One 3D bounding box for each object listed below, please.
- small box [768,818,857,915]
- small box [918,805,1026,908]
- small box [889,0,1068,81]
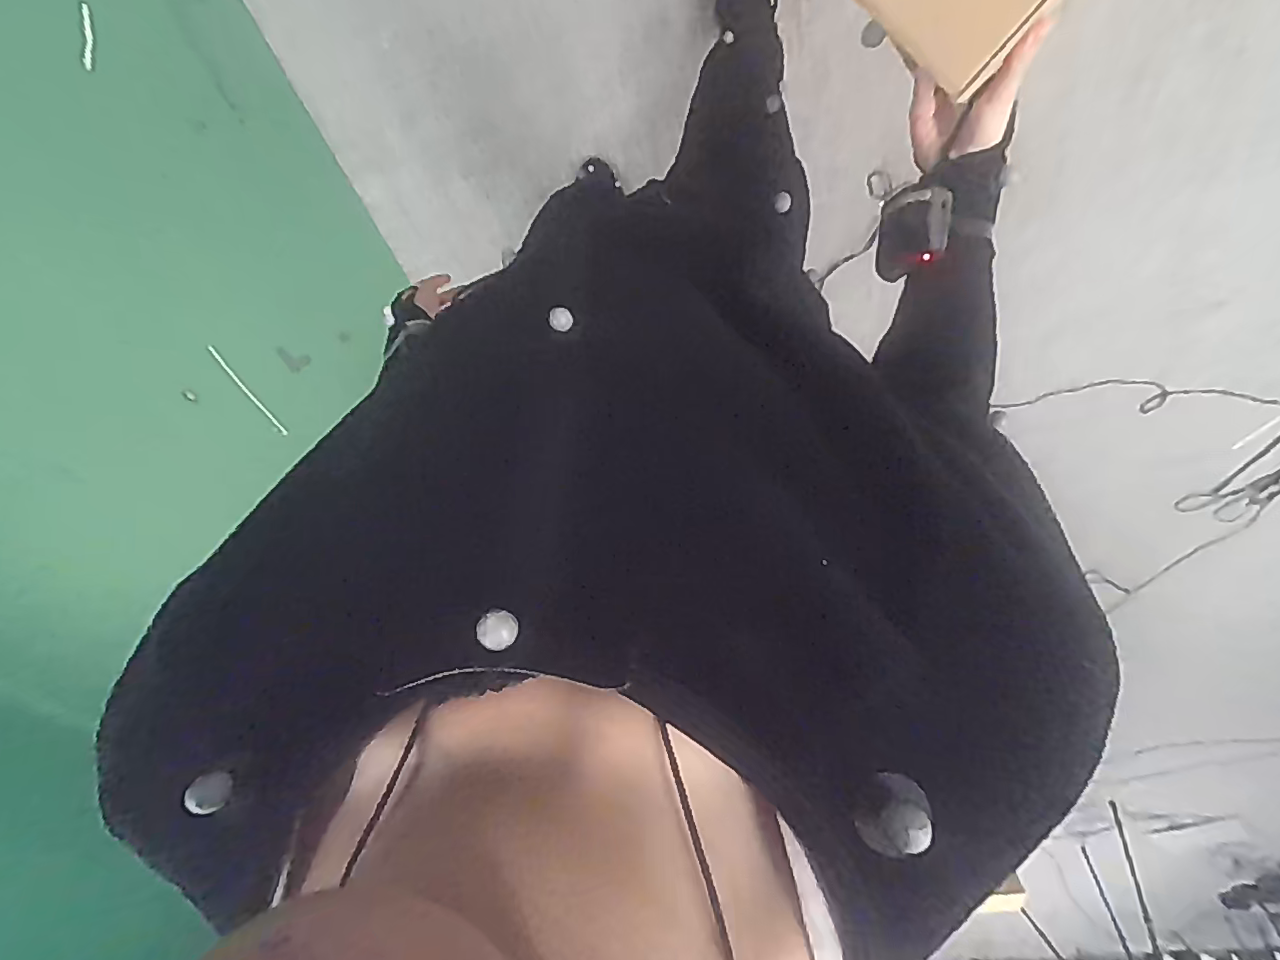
[{"bbox_3d":[0.430,0.967,1.357,0.179,0.176,0.168,-11,131,10],"label":"small box"},{"bbox_3d":[0.776,0.892,1.283,0.168,0.176,0.179,-15,130,13],"label":"small box"},{"bbox_3d":[0.213,-0.369,0.303,0.176,0.168,0.179,43,136,0],"label":"small box"}]
